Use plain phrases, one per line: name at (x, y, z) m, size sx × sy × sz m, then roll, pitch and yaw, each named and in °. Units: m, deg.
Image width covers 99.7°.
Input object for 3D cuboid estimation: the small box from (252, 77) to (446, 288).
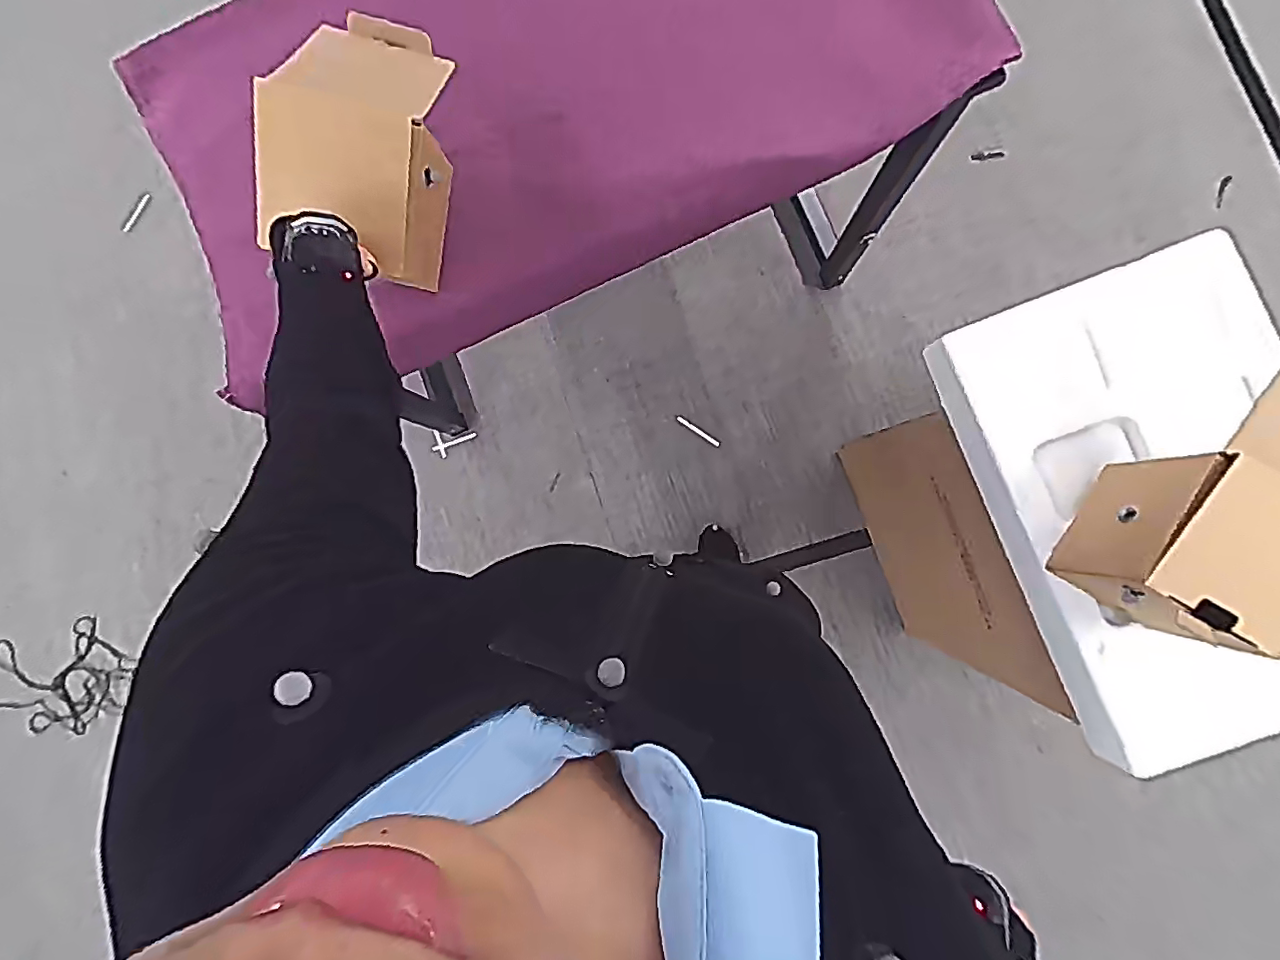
small box at (-0.357, -0.359, 0.692) m, size 0.168 × 0.176 × 0.179 m, roll 11°, pitch 103°, yaw -10°
